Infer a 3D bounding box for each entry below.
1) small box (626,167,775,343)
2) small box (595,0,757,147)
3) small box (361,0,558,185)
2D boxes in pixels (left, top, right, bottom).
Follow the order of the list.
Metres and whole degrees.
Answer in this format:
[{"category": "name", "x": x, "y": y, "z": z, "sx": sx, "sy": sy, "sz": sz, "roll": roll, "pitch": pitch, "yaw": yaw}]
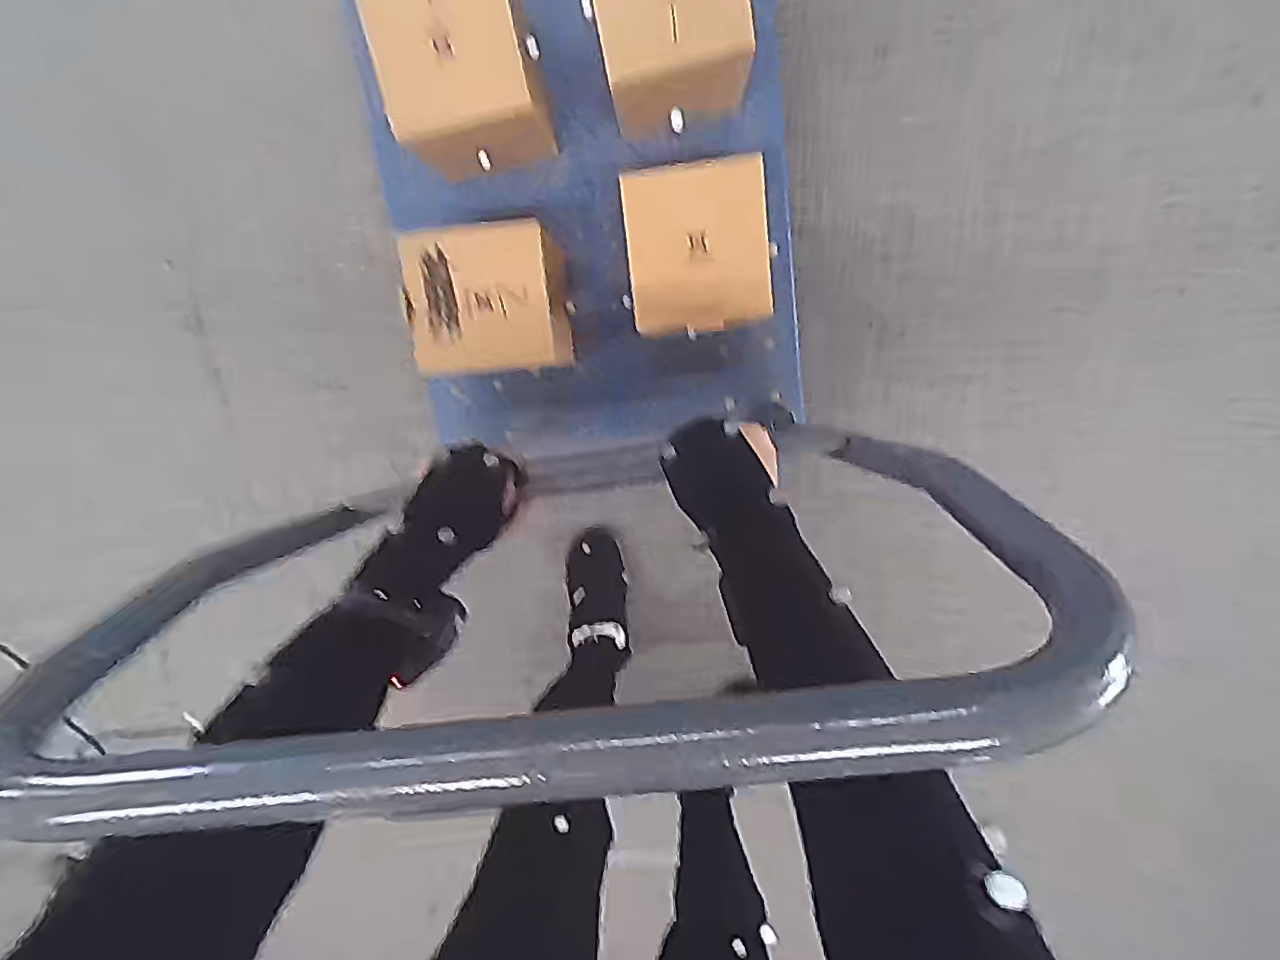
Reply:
[{"category": "small box", "x": 0.075, "y": -0.281, "z": 0.713, "sx": 0.168, "sy": 0.176, "sz": 0.179, "roll": -6, "pitch": 103, "yaw": 4}, {"category": "small box", "x": 0.036, "y": -0.543, "z": 0.655, "sx": 0.168, "sy": 0.176, "sz": 0.179, "roll": -10, "pitch": 103, "yaw": 6}, {"category": "small box", "x": -0.210, "y": -0.494, "z": 0.680, "sx": 0.168, "sy": 0.176, "sz": 0.179, "roll": -11, "pitch": 102, "yaw": 5}]
